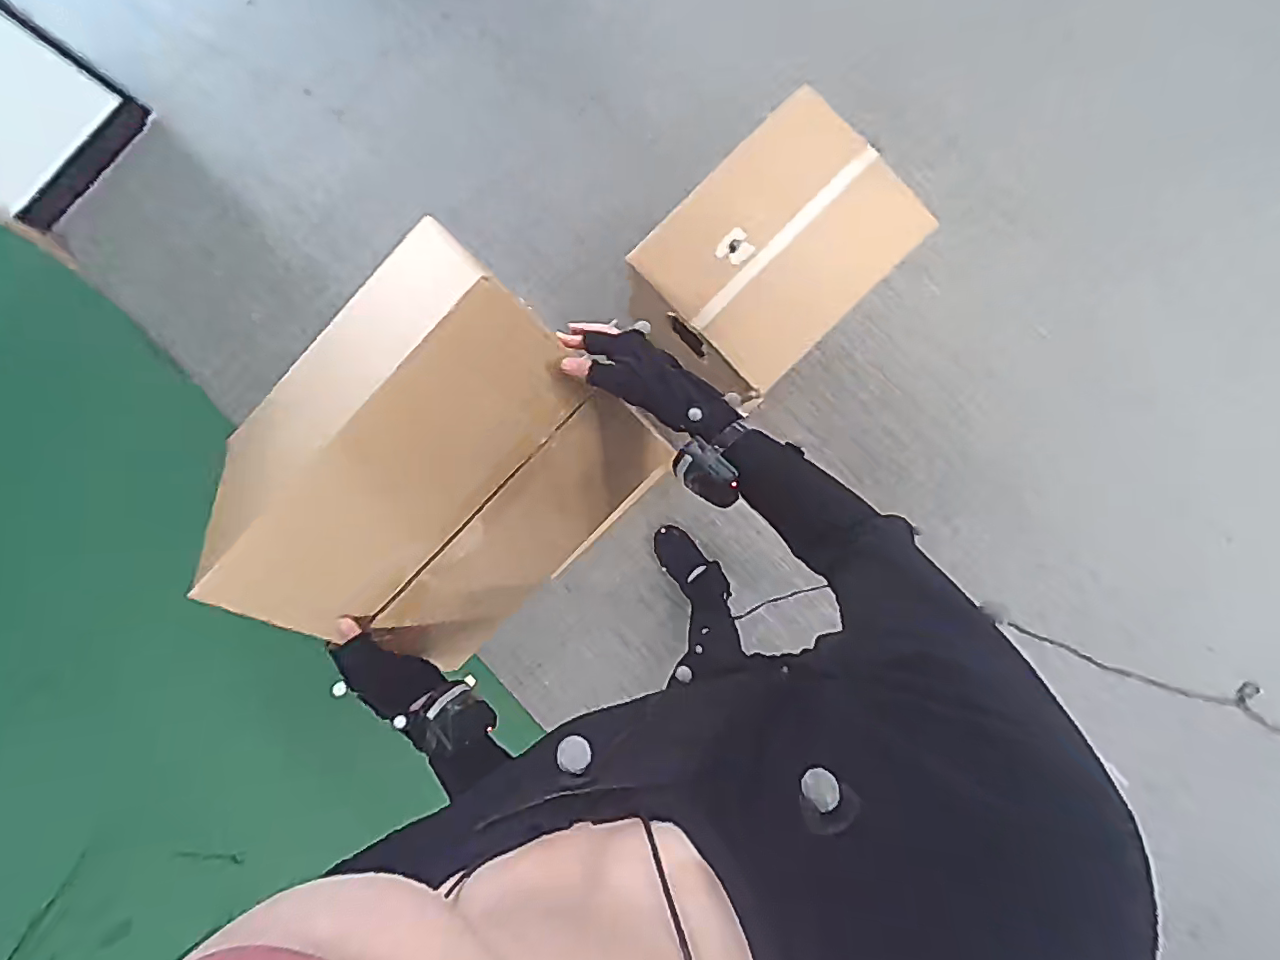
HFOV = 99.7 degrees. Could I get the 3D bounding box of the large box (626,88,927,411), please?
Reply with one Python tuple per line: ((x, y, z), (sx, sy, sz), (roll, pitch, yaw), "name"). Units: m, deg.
((0.220, -0.385, 1.014), (0.408, 0.320, 0.320), (-44, 91, 1), "large box")
